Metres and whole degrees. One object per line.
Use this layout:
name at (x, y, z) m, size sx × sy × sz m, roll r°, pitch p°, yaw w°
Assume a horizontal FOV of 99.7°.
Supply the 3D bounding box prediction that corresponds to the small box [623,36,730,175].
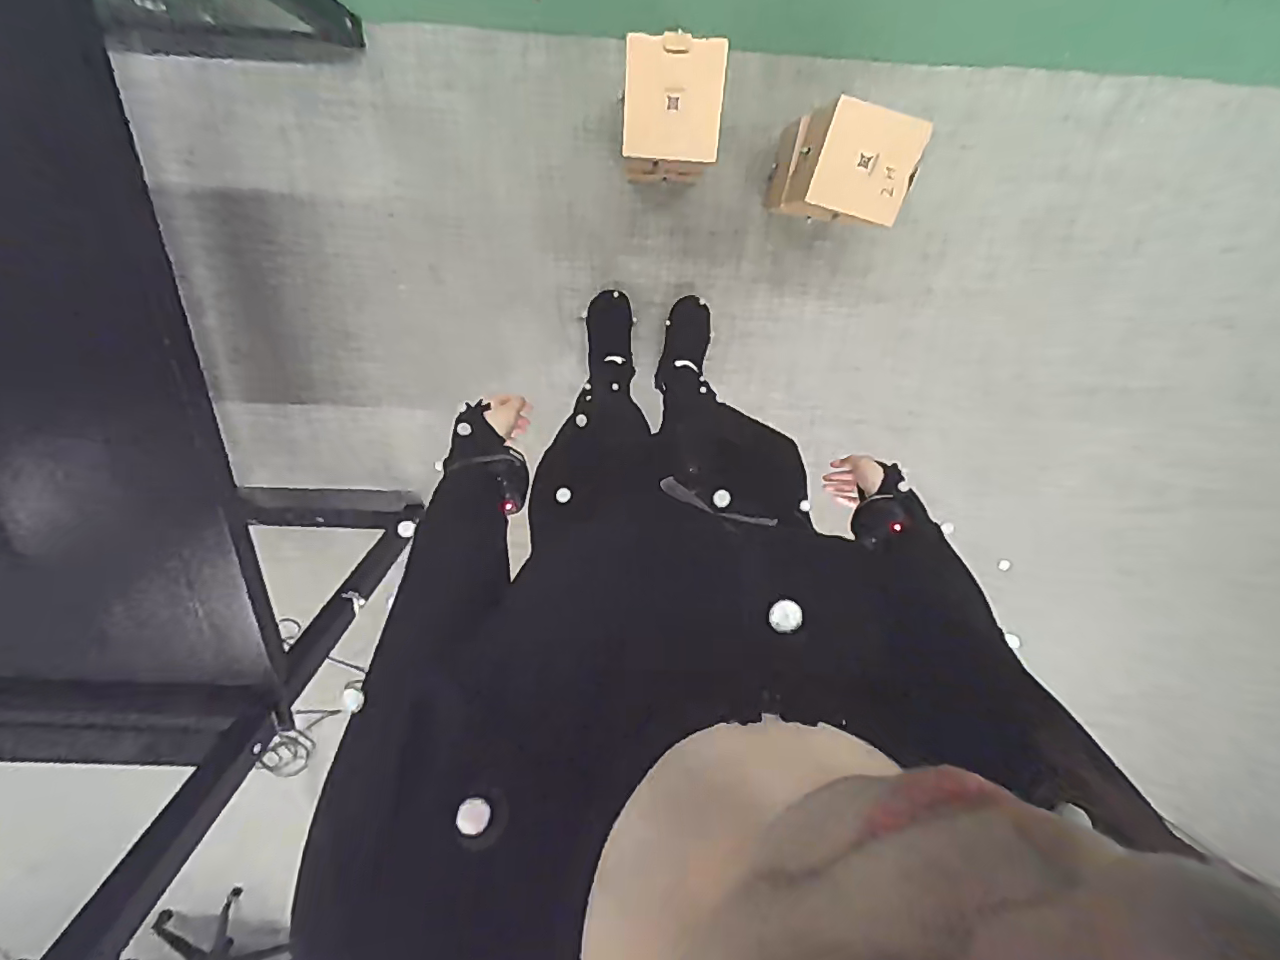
small box at (0.059, -0.652, 0.963) m, size 0.168 × 0.176 × 0.179 m, roll 2°, pitch 113°, yaw -1°

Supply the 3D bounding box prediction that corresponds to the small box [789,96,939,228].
small box at (0.397, -0.573, 0.997) m, size 0.179 × 0.176 × 0.168 m, roll 13°, pitch 115°, yaw -6°

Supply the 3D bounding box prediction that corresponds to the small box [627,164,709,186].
small box at (0.060, -0.712, 1.114) m, size 0.168 × 0.176 × 0.179 m, roll 1°, pitch 114°, yaw 0°
